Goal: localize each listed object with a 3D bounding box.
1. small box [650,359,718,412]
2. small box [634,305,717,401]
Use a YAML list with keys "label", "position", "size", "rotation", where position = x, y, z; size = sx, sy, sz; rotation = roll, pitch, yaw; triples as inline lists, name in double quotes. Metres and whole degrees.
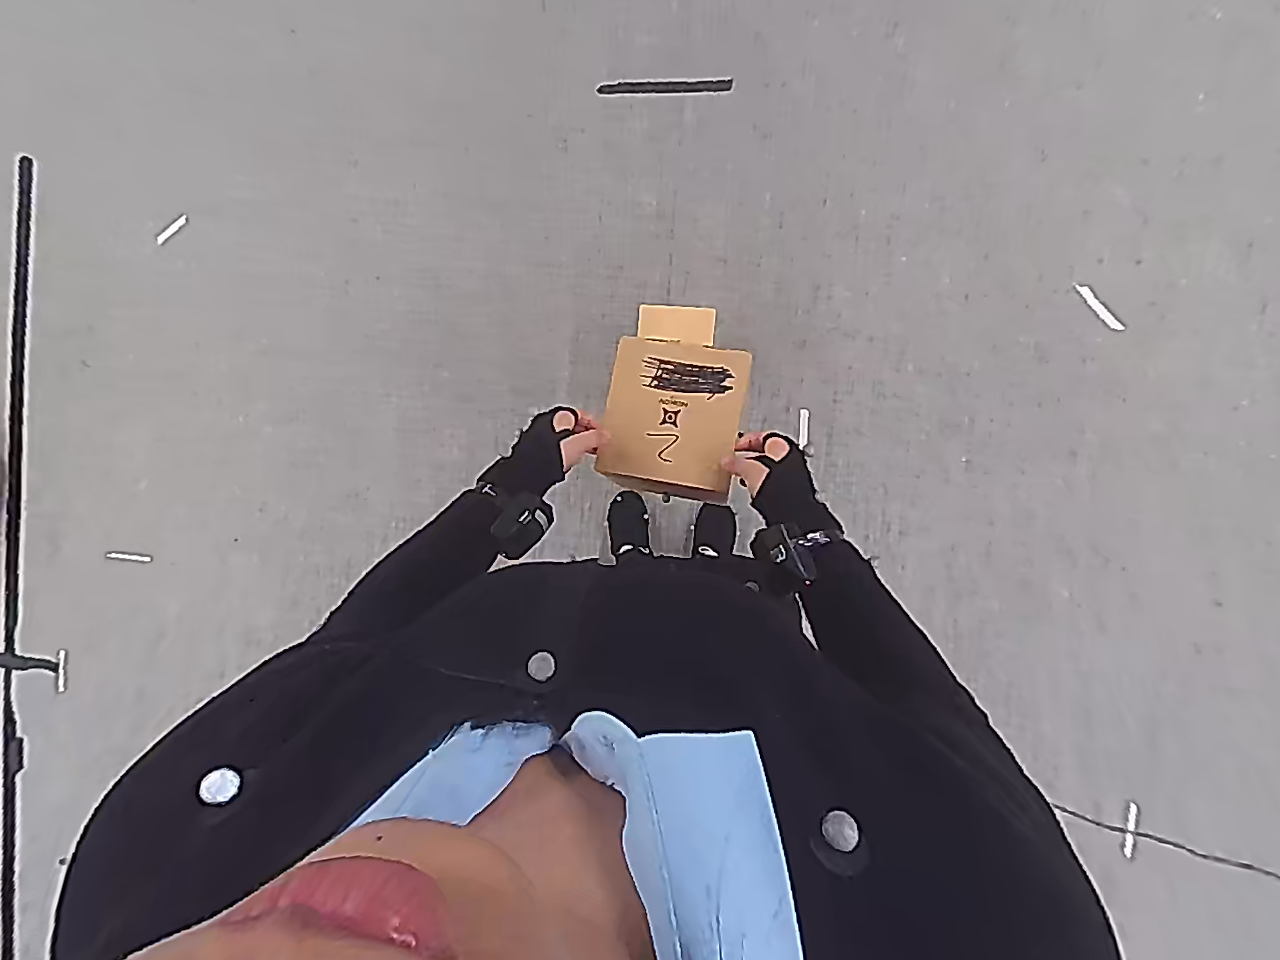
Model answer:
- label: "small box"
  position: [0.106, -0.280, 1.392]
  size: [0.168, 0.176, 0.179]
  rotation: [-7, 91, 7]
- label: "small box"
  position: [0.082, -0.283, 1.231]
  size: [0.168, 0.176, 0.179]
  rotation: [5, 92, 6]
